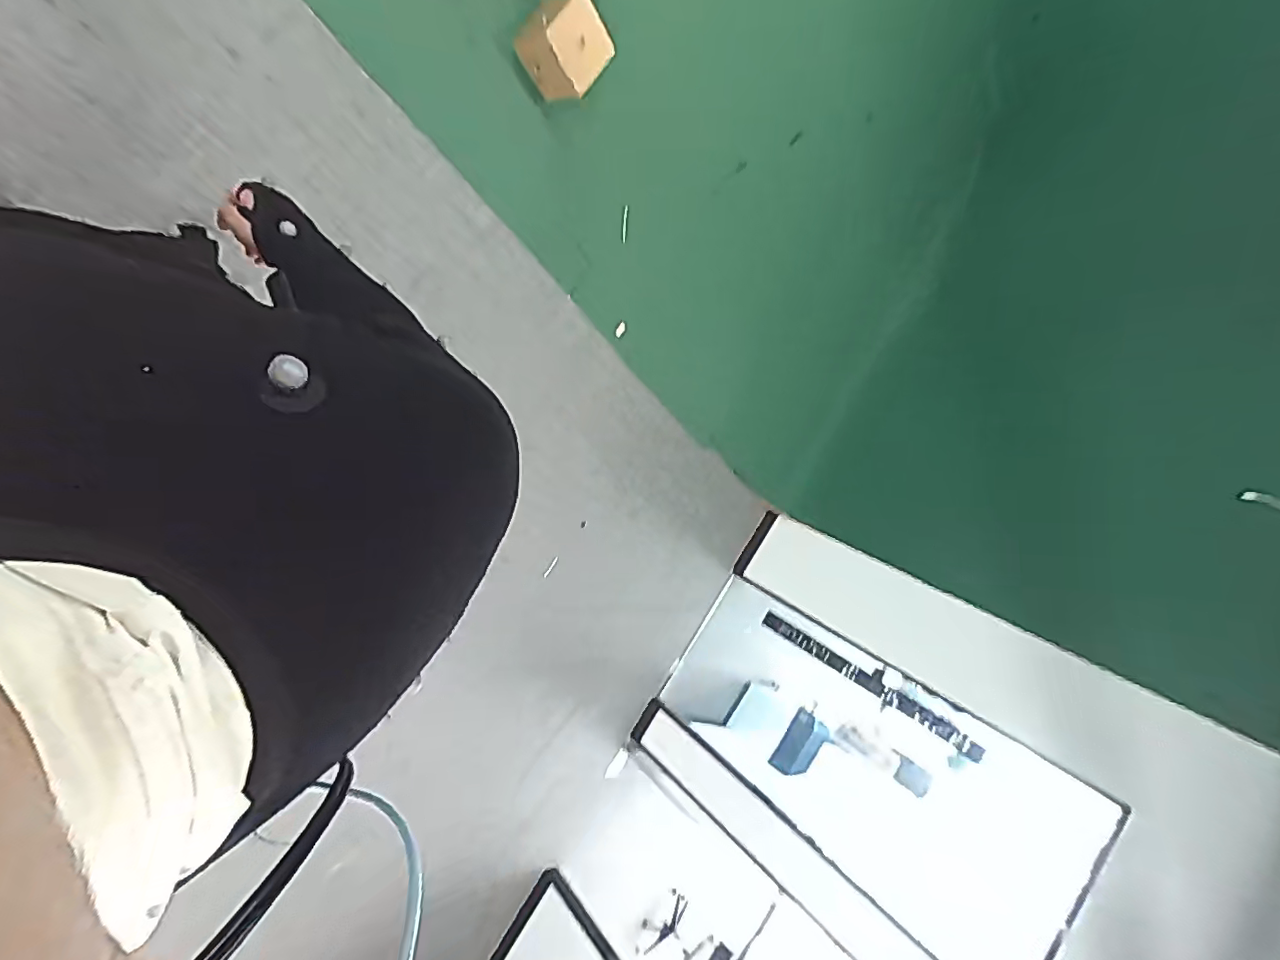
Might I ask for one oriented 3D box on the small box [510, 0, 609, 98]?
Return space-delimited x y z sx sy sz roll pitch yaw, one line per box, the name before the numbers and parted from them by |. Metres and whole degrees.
small box | -0.226 -1.199 1.495 0.179 0.176 0.168 -55 140 -6
